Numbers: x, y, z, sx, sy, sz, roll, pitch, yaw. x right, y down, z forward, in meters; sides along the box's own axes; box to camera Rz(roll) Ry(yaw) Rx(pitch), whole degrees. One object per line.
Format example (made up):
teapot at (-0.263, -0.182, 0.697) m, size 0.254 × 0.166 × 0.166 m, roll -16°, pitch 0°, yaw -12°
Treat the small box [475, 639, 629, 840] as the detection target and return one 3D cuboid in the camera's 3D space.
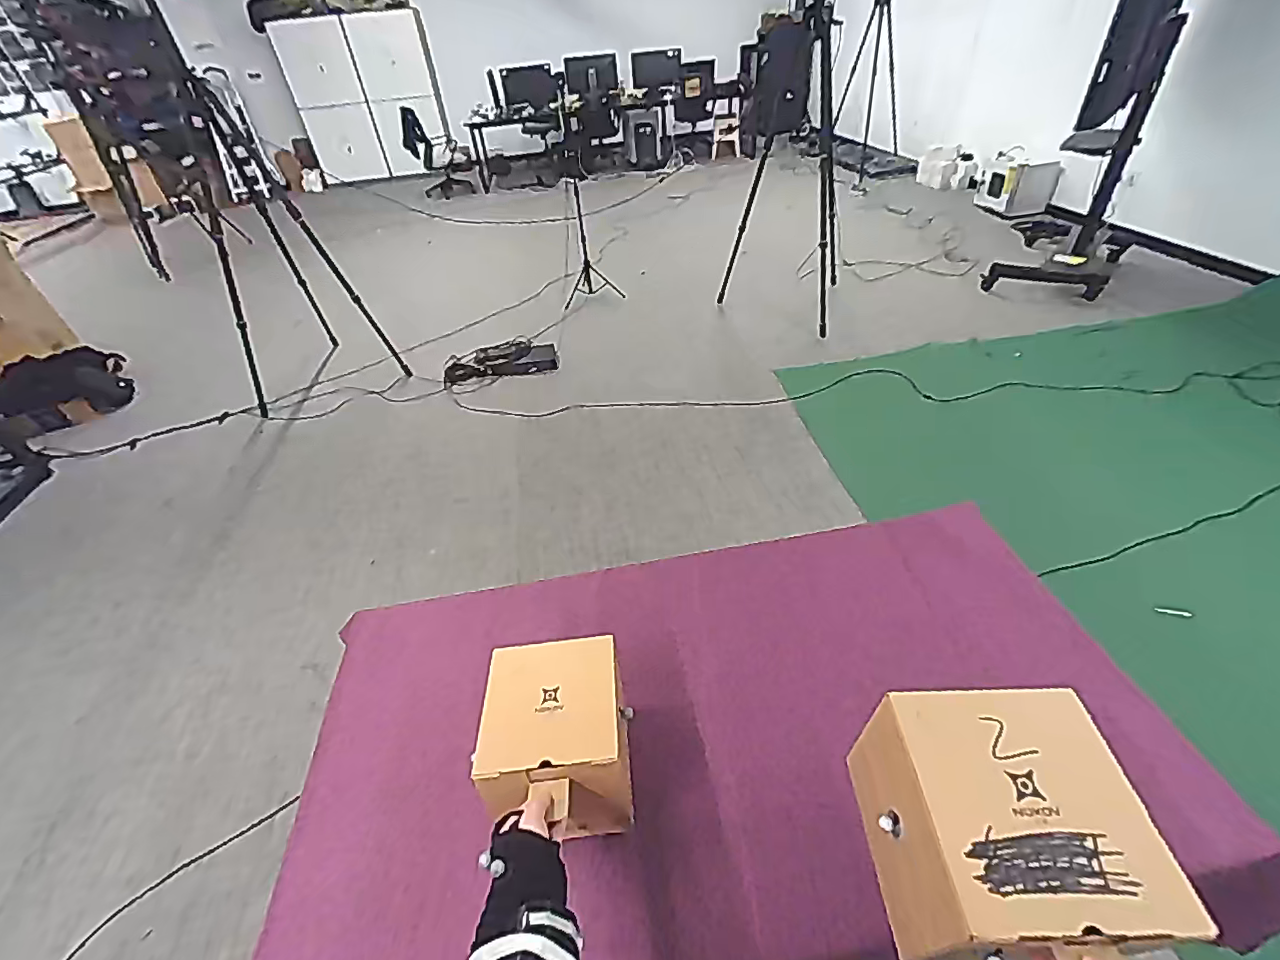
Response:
small box at (-0.106, 0.343, 0.723) m, size 0.168 × 0.176 × 0.179 m, roll -7°, pitch 35°, yaw -1°
